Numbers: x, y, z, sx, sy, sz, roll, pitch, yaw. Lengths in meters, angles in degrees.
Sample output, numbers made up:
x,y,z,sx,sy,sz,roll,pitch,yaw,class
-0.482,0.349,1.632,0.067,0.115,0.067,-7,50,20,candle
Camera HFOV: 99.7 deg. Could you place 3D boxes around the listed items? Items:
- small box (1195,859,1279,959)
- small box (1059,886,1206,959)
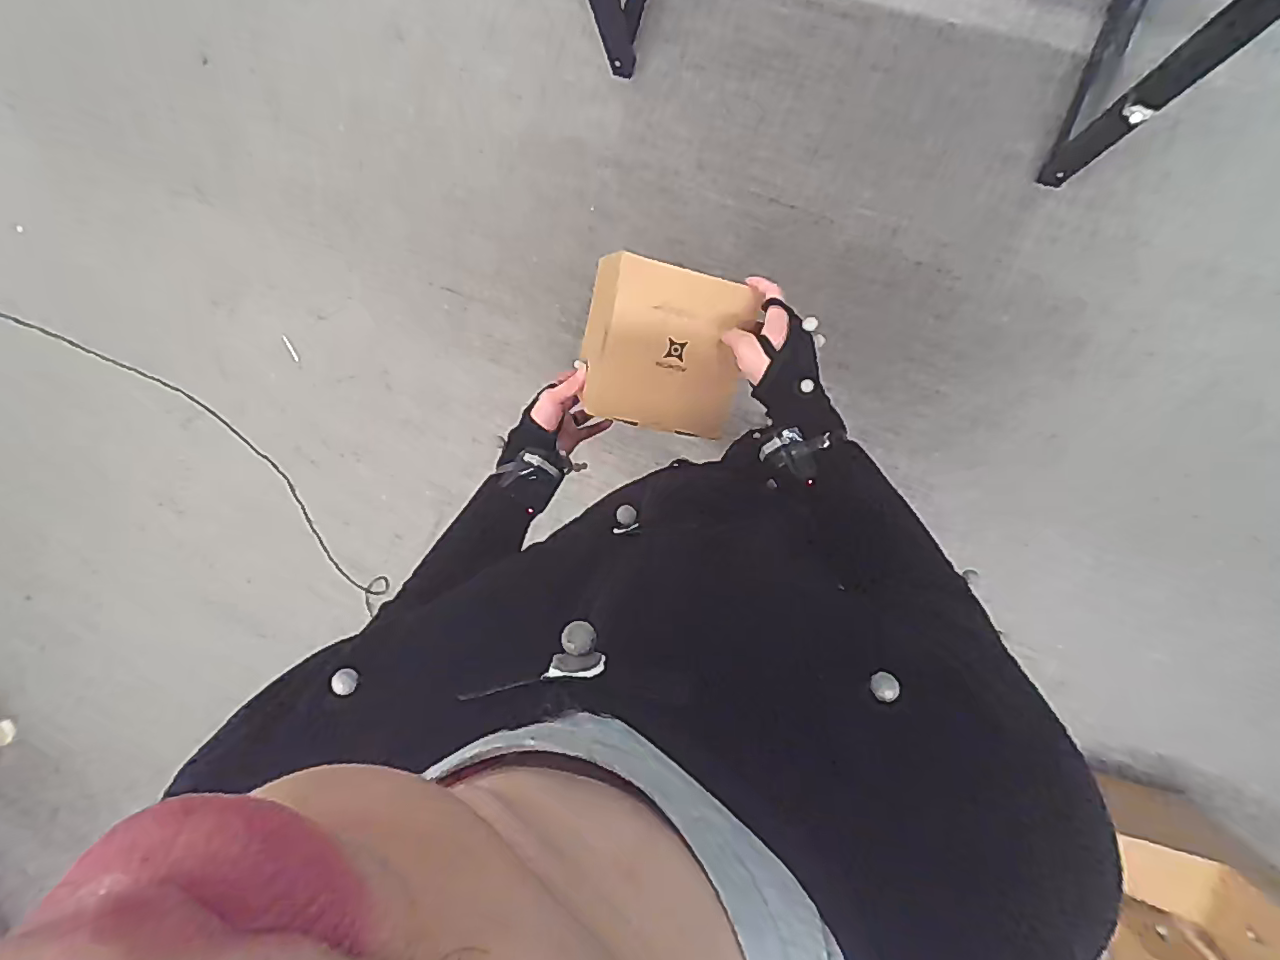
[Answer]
x,y,z,sx,sy,sz,roll,pitch,yaw,class
1.250,0.895,1.046,0.168,0.176,0.179,17,93,6,small box
0.998,0.976,1.085,0.168,0.176,0.179,19,98,6,small box
